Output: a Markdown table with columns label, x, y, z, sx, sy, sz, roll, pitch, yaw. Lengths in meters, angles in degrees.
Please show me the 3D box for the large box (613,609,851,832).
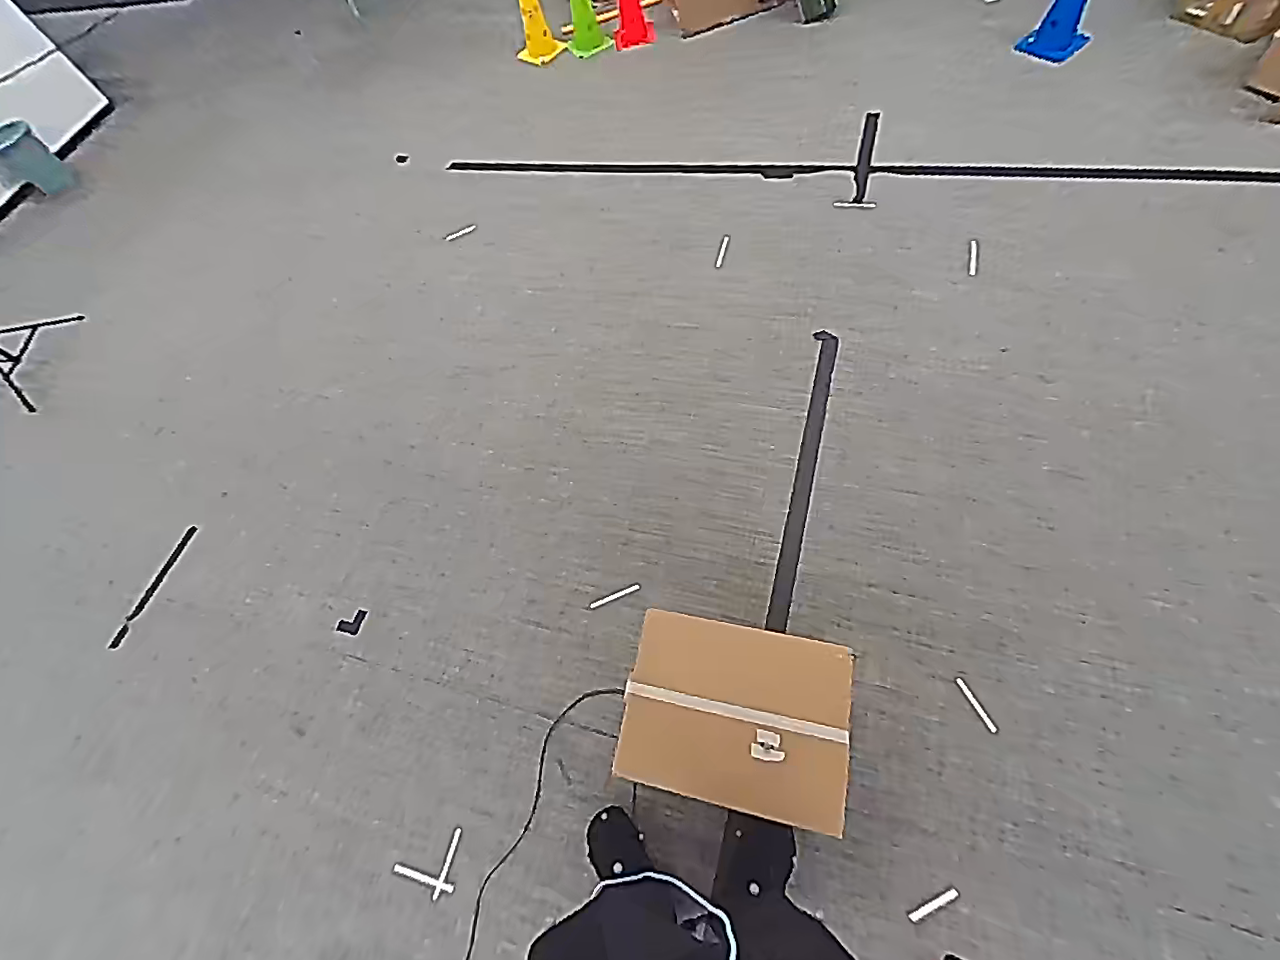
| label | x | y | z | sx | sy | sz | roll | pitch | yaw |
| --- | --- | --- | --- | --- | --- | --- | --- | --- | --- |
| large box | 0.192 | 0.487 | 1.128 | 0.408 | 0.320 | 0.320 | 9 | 67 | 13 |
